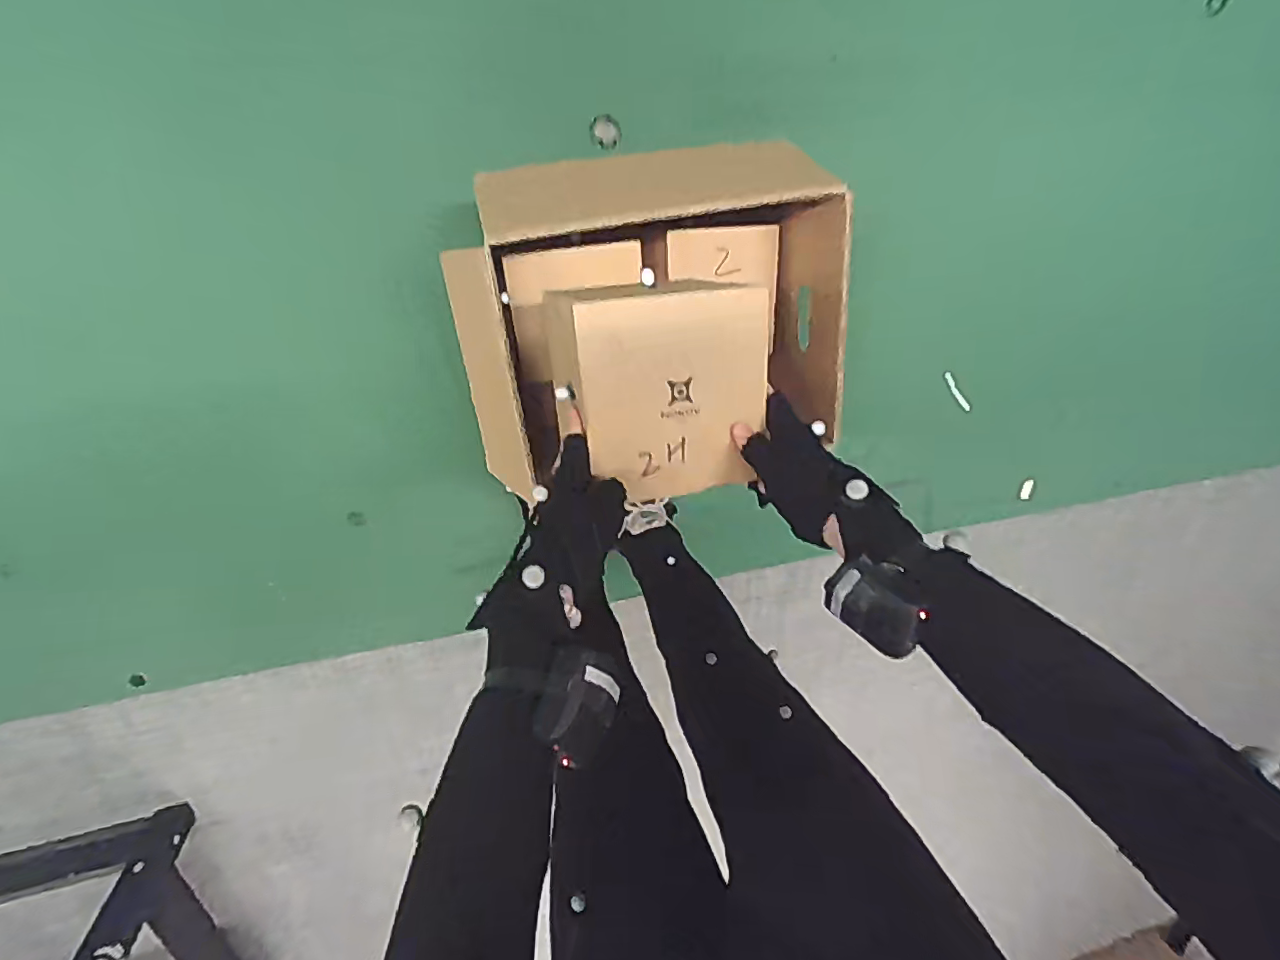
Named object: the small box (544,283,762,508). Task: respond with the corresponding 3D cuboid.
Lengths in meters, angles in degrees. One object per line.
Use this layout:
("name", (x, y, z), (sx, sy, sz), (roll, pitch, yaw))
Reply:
("small box", (0.005, -0.095, 0.529), (0.168, 0.176, 0.179), (-10, 114, -13))
